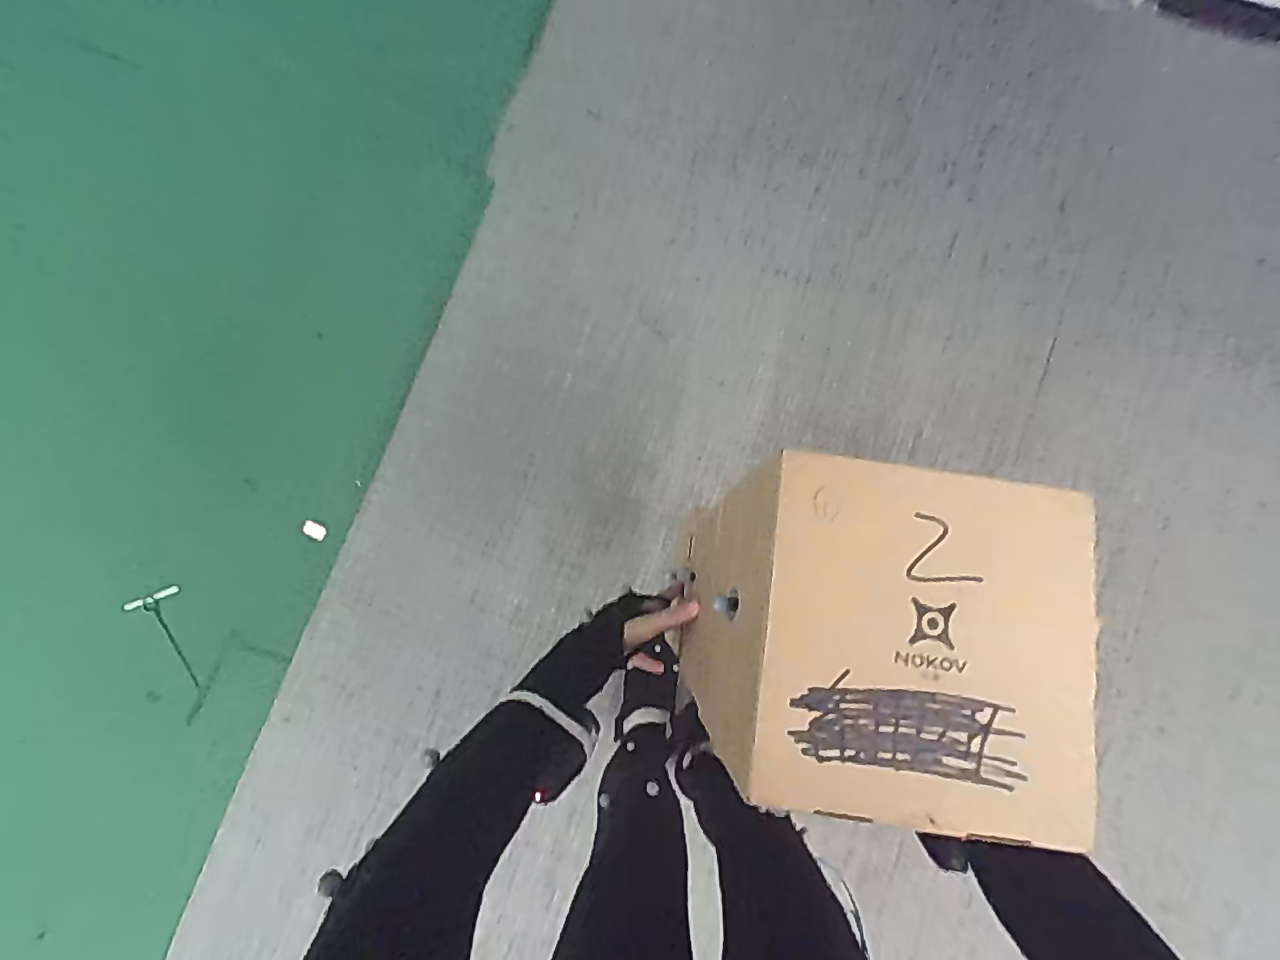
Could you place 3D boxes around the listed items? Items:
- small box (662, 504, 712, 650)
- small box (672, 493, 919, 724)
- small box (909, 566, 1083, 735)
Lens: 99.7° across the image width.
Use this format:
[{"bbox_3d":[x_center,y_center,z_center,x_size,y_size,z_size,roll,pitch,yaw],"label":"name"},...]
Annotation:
[{"bbox_3d":[0.128,0.130,0.677,0.179,0.176,0.168,7,80,0],"label":"small box"},{"bbox_3d":[0.132,0.113,0.514,0.179,0.176,0.168,8,80,0],"label":"small box"},{"bbox_3d":[0.466,0.229,0.773,0.179,0.176,0.168,20,84,2],"label":"small box"}]
